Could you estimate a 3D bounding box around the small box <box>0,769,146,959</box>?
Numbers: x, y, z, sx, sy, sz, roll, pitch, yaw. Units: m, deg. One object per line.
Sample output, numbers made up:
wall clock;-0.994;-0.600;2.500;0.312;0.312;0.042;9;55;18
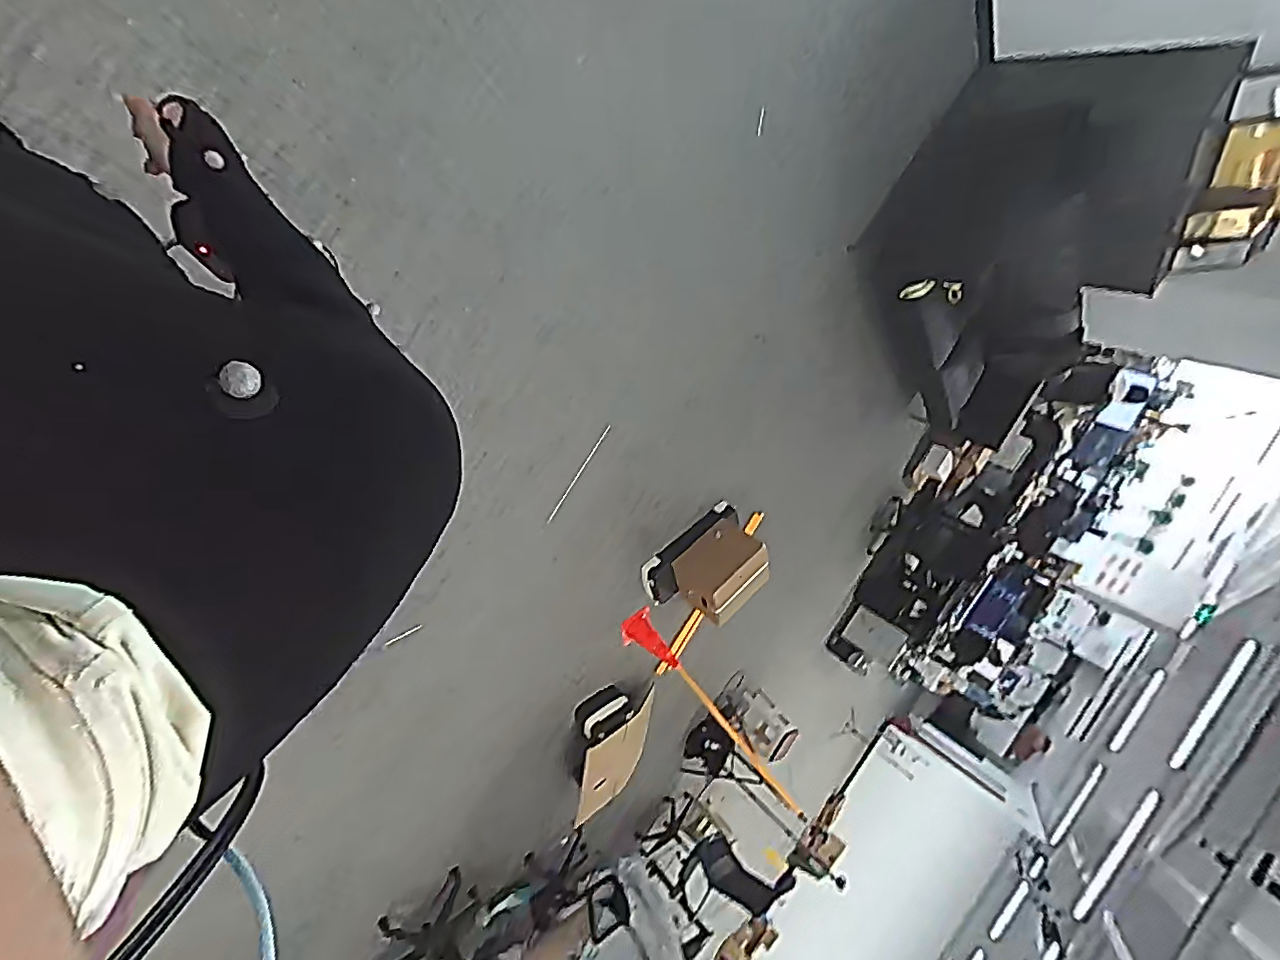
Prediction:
small box;-0.848;0.535;0.758;0.168;0.176;0.179;-57;140;-1
